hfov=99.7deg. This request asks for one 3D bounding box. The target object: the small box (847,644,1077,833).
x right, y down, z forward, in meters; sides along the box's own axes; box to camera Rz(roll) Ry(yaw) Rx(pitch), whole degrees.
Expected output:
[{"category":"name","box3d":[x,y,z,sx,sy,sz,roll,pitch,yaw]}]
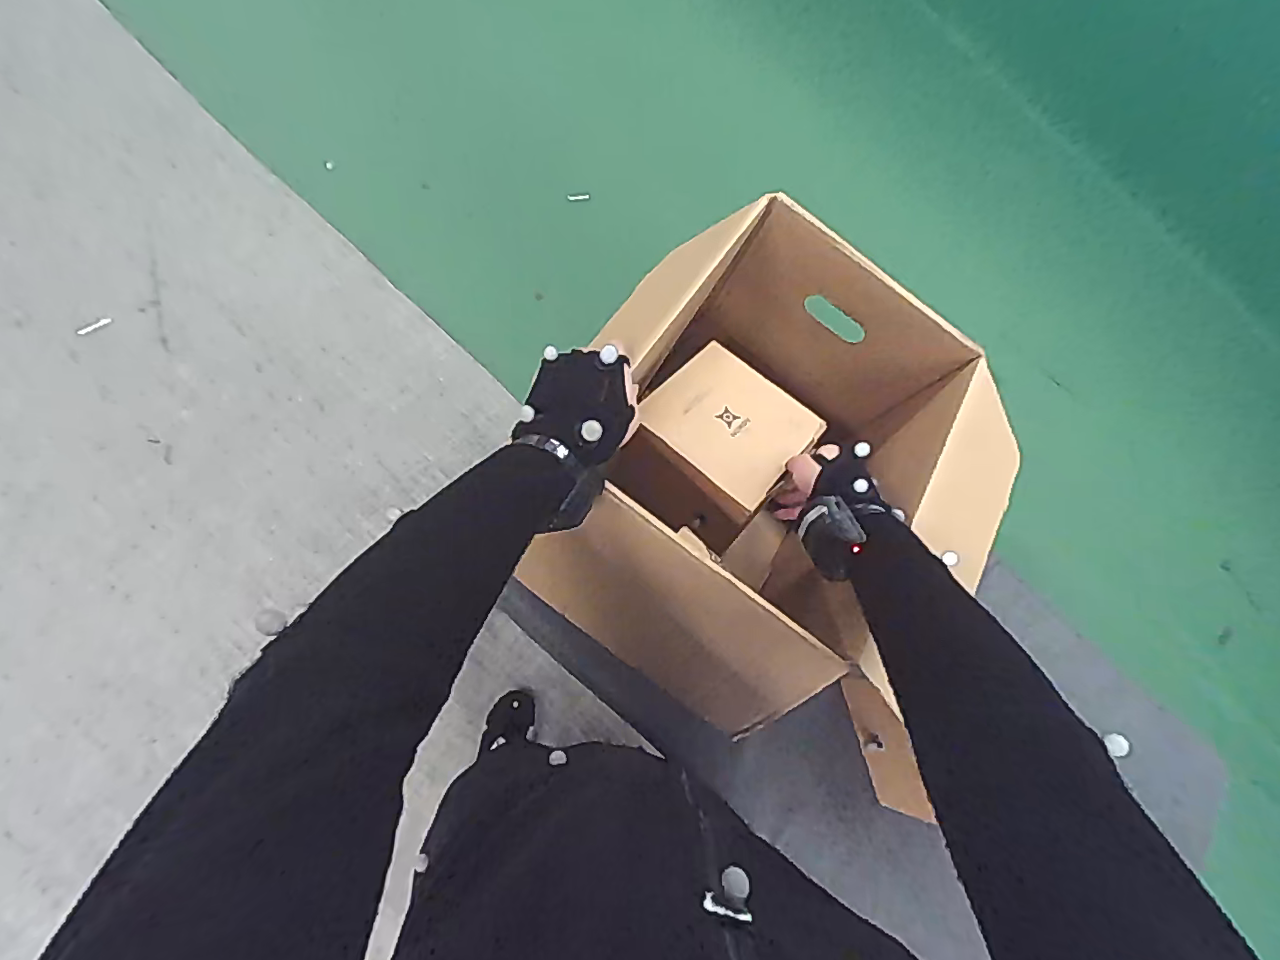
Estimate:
[{"category":"small box","box3d":[0.410,0.323,0.718,0.168,0.176,0.179,-10,76,-17]}]
